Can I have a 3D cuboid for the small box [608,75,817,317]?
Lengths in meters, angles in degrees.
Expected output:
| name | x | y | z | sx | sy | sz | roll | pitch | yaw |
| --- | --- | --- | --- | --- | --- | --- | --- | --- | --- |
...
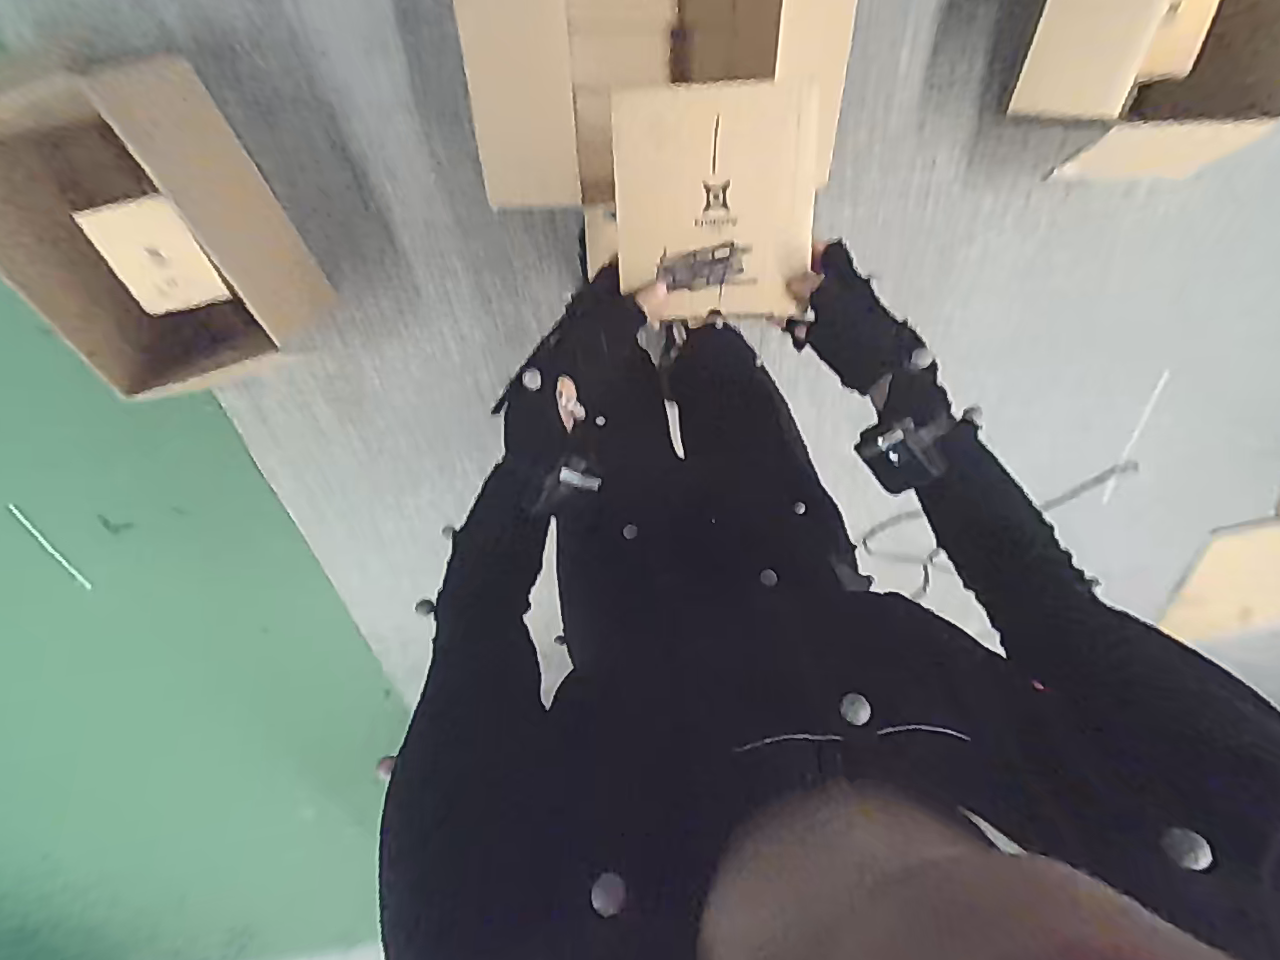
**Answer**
| name | x | y | z | sx | sy | sz | roll | pitch | yaw |
| --- | --- | --- | --- | --- | --- | --- | --- | --- | --- |
| small box | 0.060 | -0.256 | 0.522 | 0.168 | 0.176 | 0.179 | -2 | 110 | 1 |
